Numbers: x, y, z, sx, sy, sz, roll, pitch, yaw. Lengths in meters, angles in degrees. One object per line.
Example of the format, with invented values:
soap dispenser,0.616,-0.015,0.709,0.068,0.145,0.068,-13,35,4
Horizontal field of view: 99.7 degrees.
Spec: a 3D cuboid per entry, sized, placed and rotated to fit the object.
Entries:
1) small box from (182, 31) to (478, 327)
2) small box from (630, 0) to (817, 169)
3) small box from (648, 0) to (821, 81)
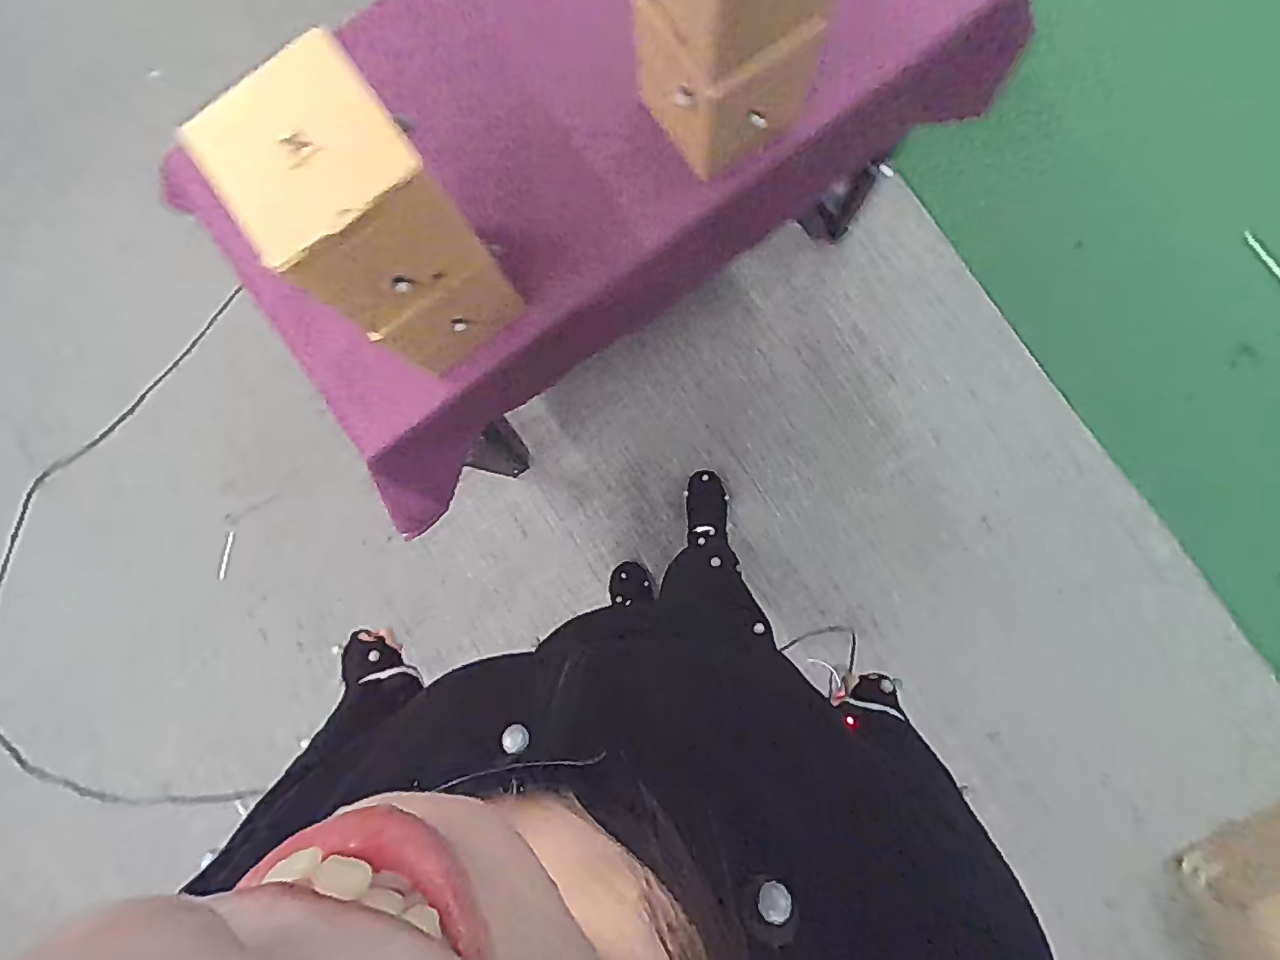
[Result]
small box,-0.306,-0.296,0.572,0.168,0.176,0.179,-37,86,0
small box,0.105,-0.563,0.733,0.168,0.176,0.179,-33,85,0
small box,0.101,-0.581,0.569,0.179,0.176,0.168,-33,85,0
